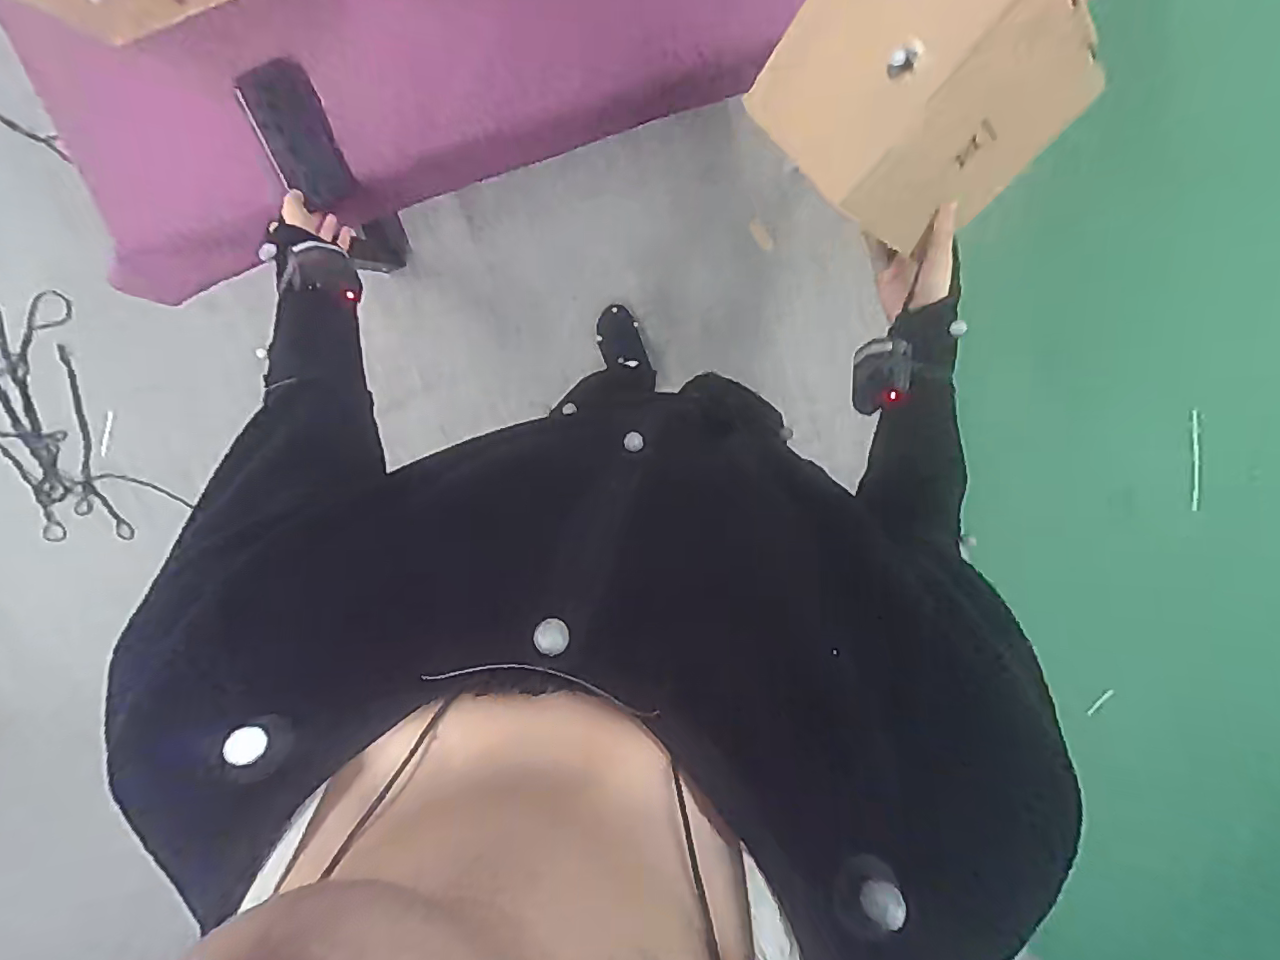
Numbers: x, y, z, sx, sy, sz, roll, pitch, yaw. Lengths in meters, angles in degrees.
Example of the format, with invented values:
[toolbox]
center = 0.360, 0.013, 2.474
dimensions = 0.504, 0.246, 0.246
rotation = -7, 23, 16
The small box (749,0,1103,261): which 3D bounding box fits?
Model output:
[small box]
center = 0.226, -0.329, 0.456
dimensions = 0.168, 0.176, 0.179
rotation = 3, 142, -41
